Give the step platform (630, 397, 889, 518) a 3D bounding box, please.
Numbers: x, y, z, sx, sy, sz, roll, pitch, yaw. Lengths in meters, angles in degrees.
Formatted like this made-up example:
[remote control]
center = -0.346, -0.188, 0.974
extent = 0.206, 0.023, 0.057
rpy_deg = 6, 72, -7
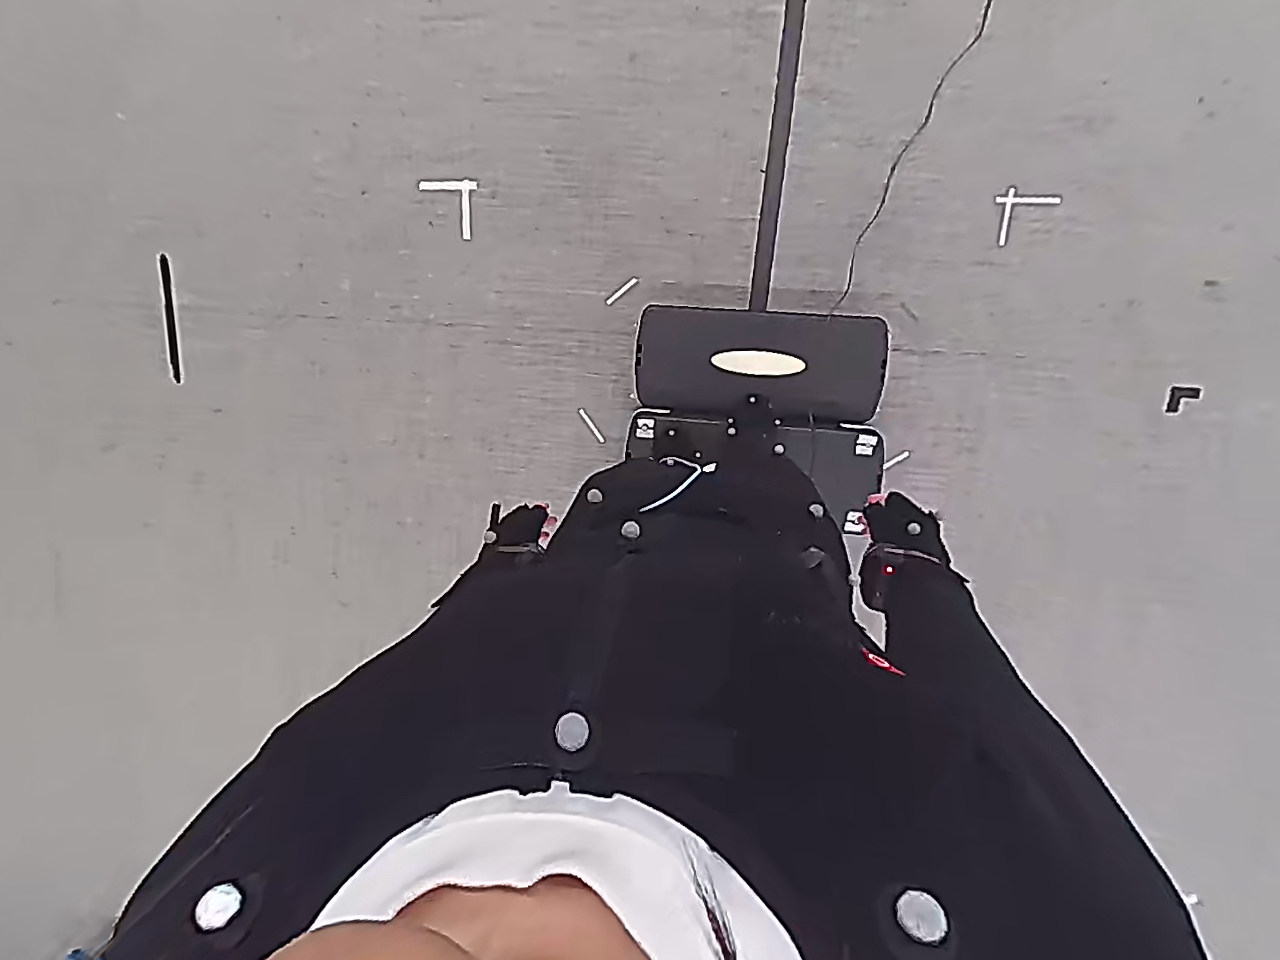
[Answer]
[step platform]
center = 0.314, -0.069, 1.494
extent = 0.684, 0.204, 0.286
rpy_deg = 4, 101, 7
